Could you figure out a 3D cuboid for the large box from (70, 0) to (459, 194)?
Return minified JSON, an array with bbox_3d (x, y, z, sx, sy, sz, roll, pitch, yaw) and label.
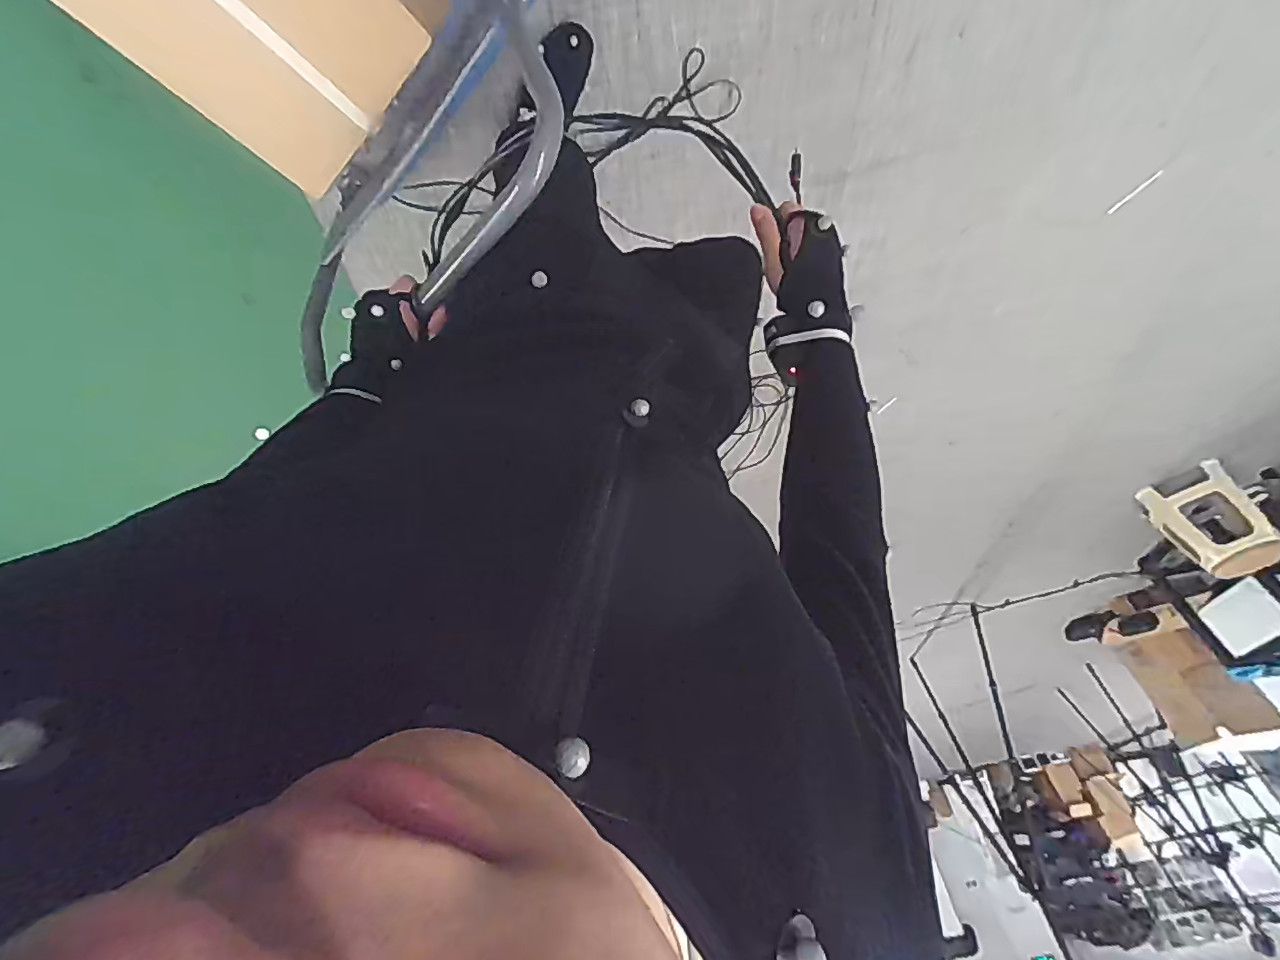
[{"bbox_3d":[-0.534,-0.730,0.785,0.320,0.320,0.408,-33,133,24],"label":"large box"}]
